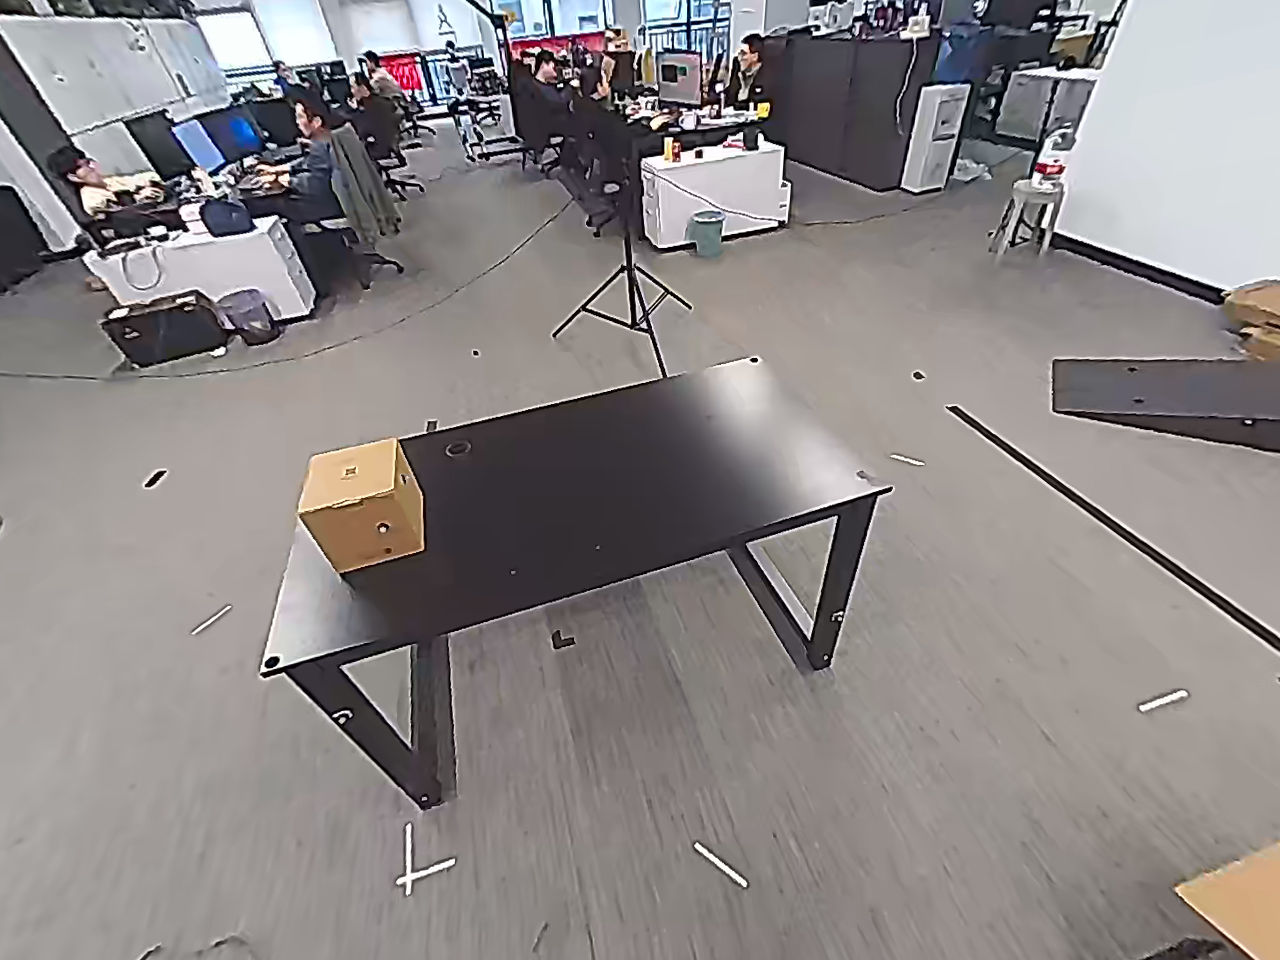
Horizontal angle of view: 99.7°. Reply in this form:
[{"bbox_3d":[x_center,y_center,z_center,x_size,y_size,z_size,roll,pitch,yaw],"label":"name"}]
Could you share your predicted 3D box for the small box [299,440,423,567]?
[{"bbox_3d":[-0.540,0.051,1.072,0.168,0.176,0.179,-15,41,-11],"label":"small box"}]
